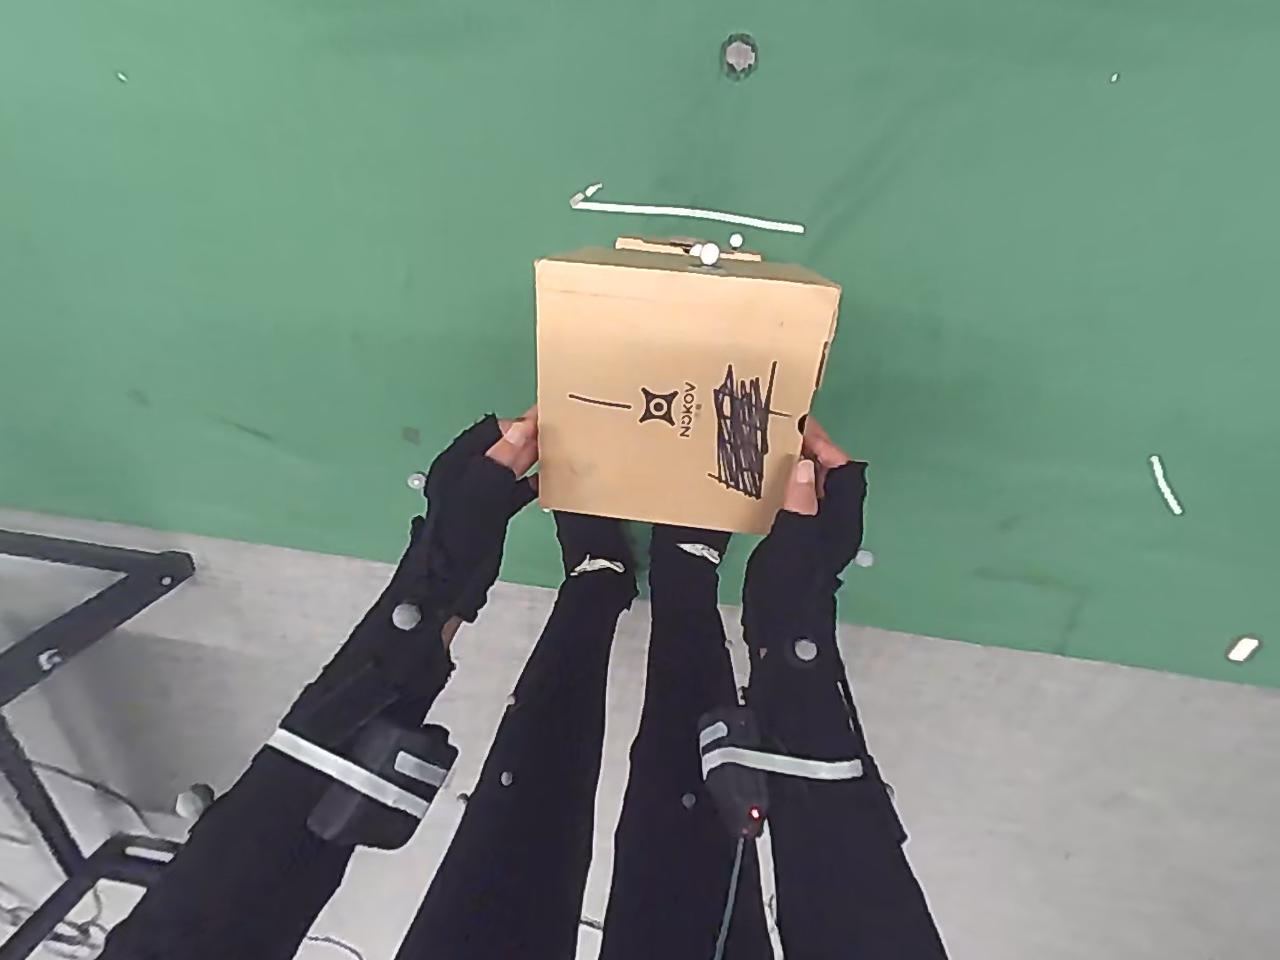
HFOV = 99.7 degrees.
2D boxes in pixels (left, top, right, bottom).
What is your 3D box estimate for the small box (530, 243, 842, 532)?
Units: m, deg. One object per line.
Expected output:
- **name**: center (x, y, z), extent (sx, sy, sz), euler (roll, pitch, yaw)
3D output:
- **small box**: center (0.026, -0.082, 0.410), extent (0.179, 0.176, 0.168), euler (8, 114, 2)
